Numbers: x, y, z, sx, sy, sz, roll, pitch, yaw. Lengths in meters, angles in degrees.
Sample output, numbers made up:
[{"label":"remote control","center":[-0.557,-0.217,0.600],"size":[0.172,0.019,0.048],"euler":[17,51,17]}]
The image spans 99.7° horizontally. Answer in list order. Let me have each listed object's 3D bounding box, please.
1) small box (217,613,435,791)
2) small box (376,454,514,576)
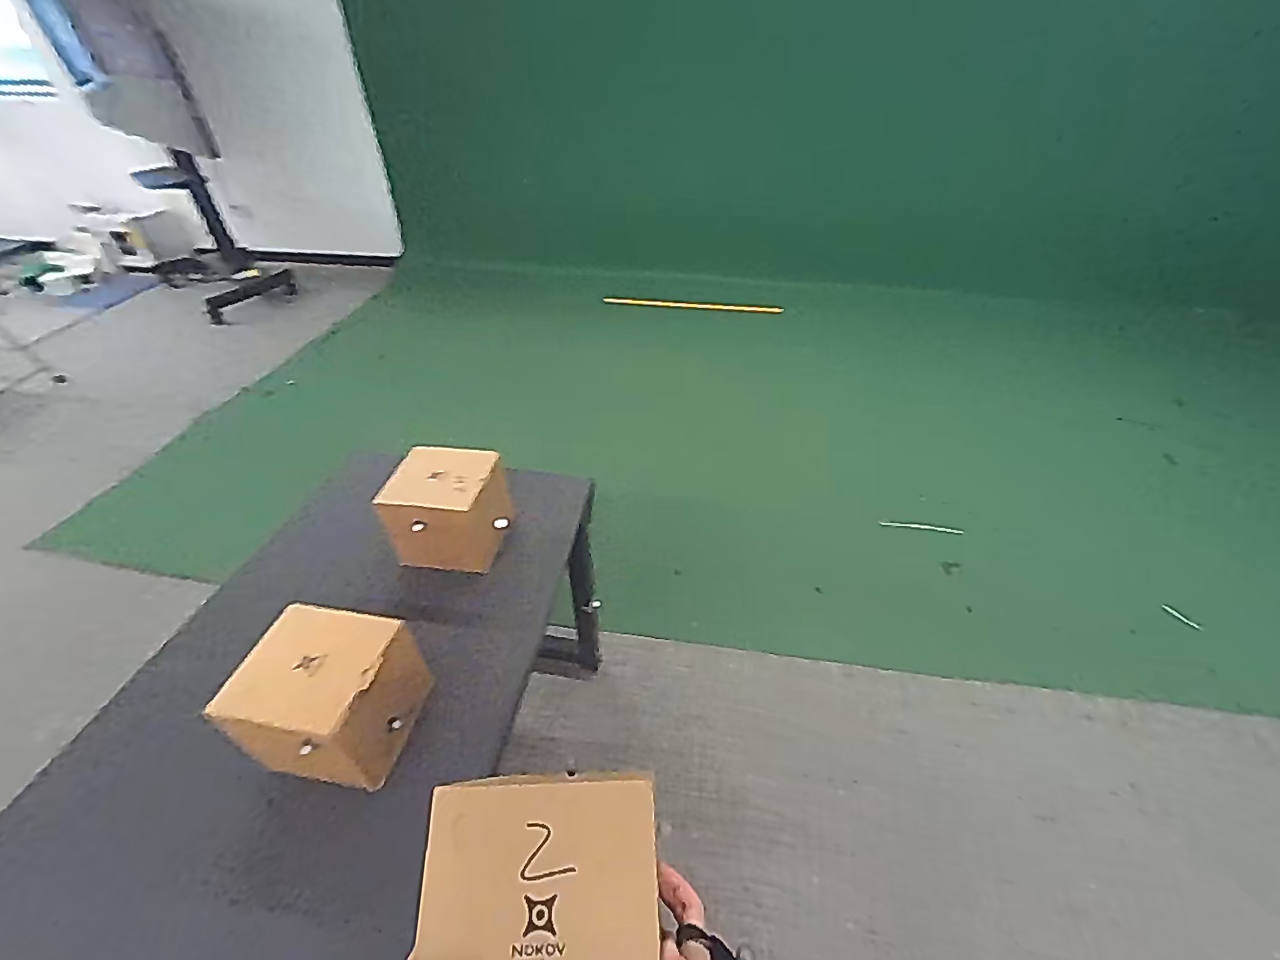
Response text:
[{"label":"small box","center":[-0.424,0.314,0.765],"size":[0.179,0.176,0.168],"euler":[5,41,9]},{"label":"small box","center":[-0.363,0.068,1.045],"size":[0.179,0.176,0.168],"euler":[4,42,7]}]
